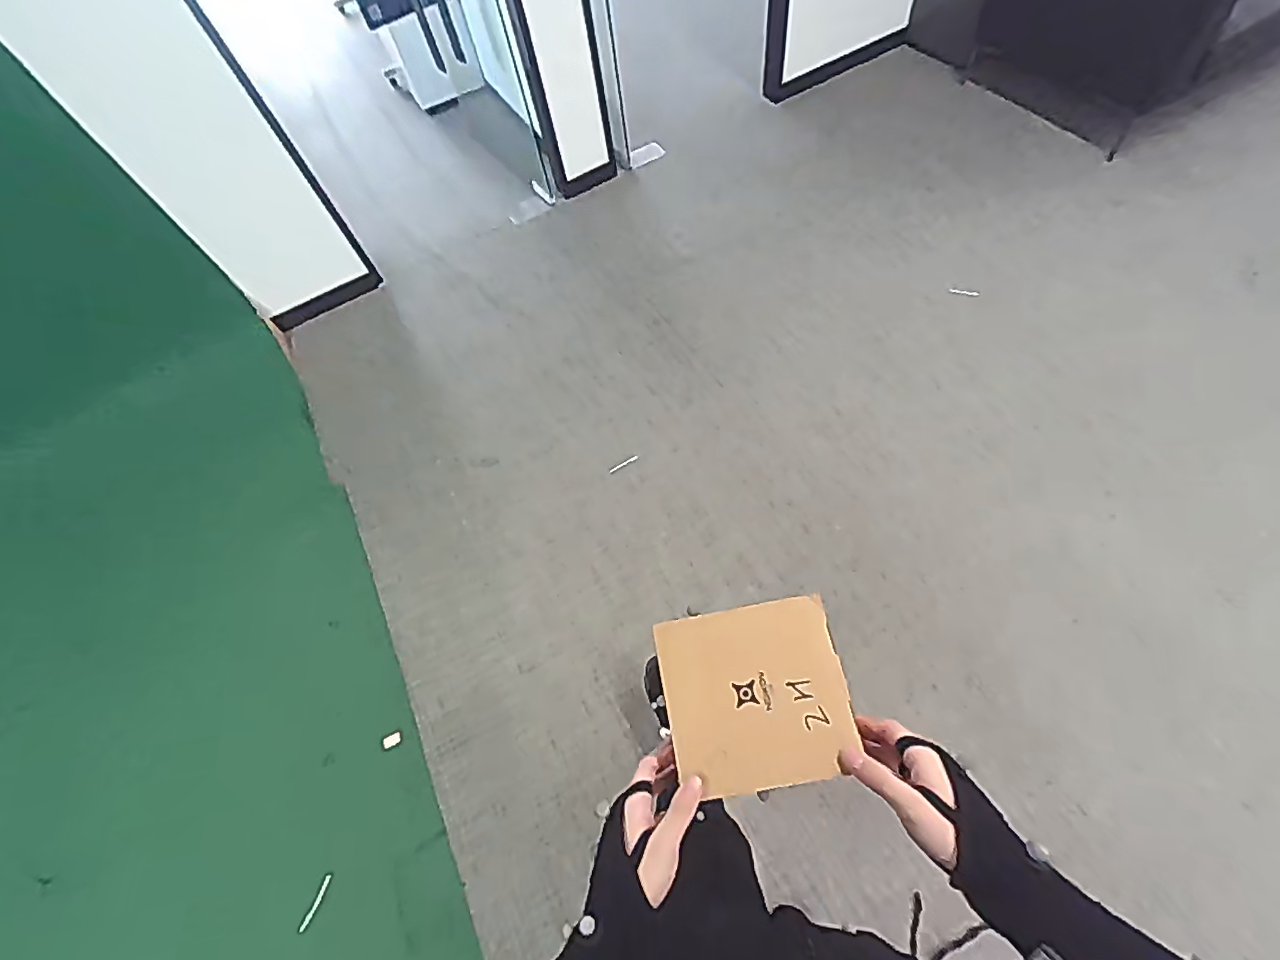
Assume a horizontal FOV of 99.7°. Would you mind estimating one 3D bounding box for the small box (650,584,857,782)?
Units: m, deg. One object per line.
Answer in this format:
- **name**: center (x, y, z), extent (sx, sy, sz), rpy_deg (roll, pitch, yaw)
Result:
- **small box**: center (0.117, 0.225, 0.610), extent (0.179, 0.176, 0.168), rpy_deg (-11, 69, 3)
